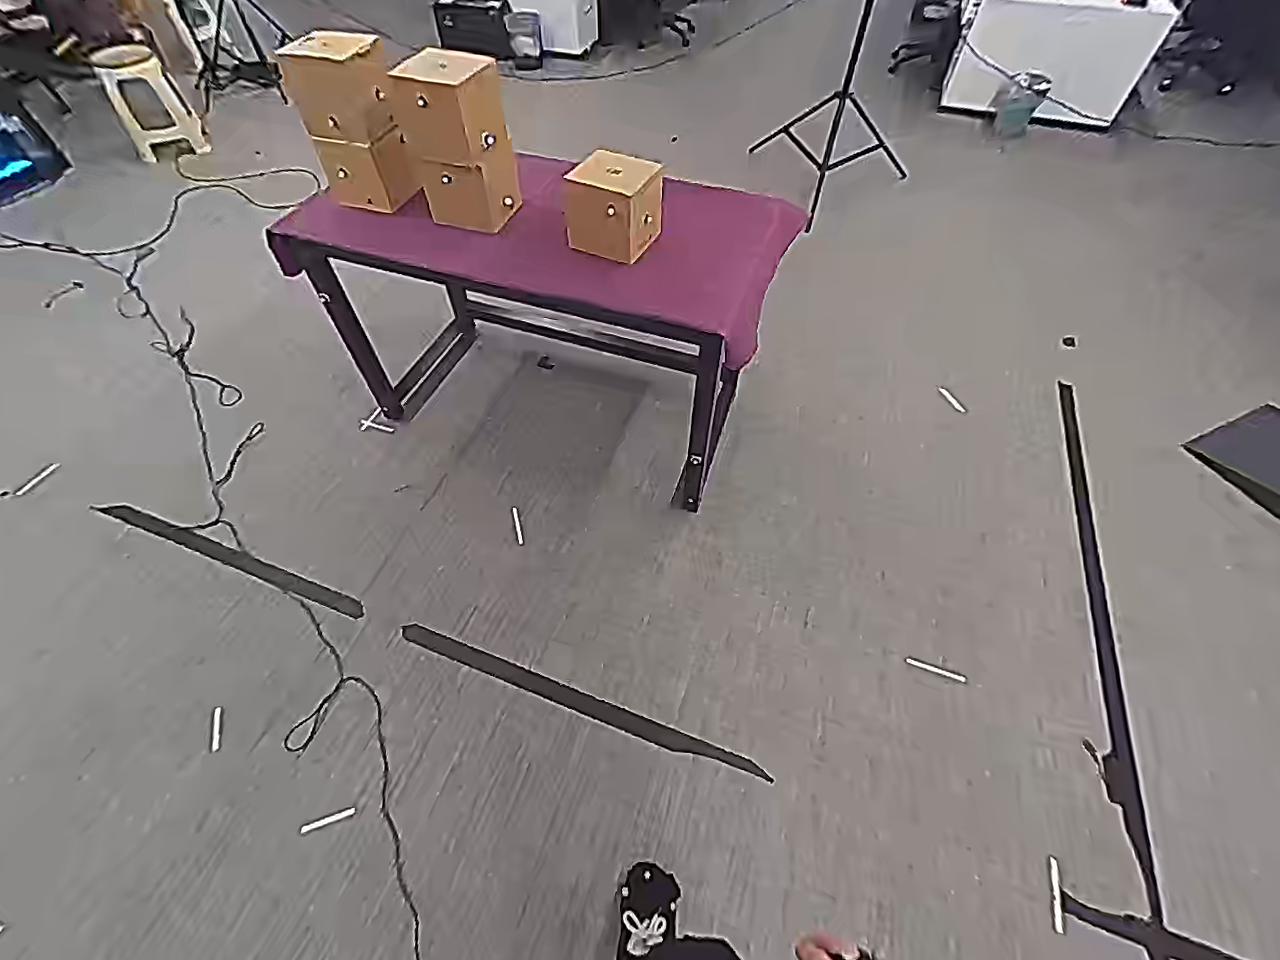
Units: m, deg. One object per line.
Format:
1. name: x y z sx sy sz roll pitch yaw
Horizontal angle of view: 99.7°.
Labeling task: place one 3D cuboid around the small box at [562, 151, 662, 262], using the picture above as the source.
1. small box: -0.062 -0.647 1.289 0.179 0.176 0.168 22 56 15

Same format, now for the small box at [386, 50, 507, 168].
1. small box: -0.427 -0.835 1.224 0.179 0.176 0.168 17 57 10

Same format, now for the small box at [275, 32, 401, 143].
1. small box: -0.704 -0.930 1.289 0.179 0.176 0.168 12 54 7

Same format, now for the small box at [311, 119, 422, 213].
1. small box: -0.703 -0.827 1.416 0.168 0.176 0.179 13 54 9

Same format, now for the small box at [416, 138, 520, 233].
1. small box: -0.423 -0.750 1.362 0.179 0.176 0.168 15 55 9
